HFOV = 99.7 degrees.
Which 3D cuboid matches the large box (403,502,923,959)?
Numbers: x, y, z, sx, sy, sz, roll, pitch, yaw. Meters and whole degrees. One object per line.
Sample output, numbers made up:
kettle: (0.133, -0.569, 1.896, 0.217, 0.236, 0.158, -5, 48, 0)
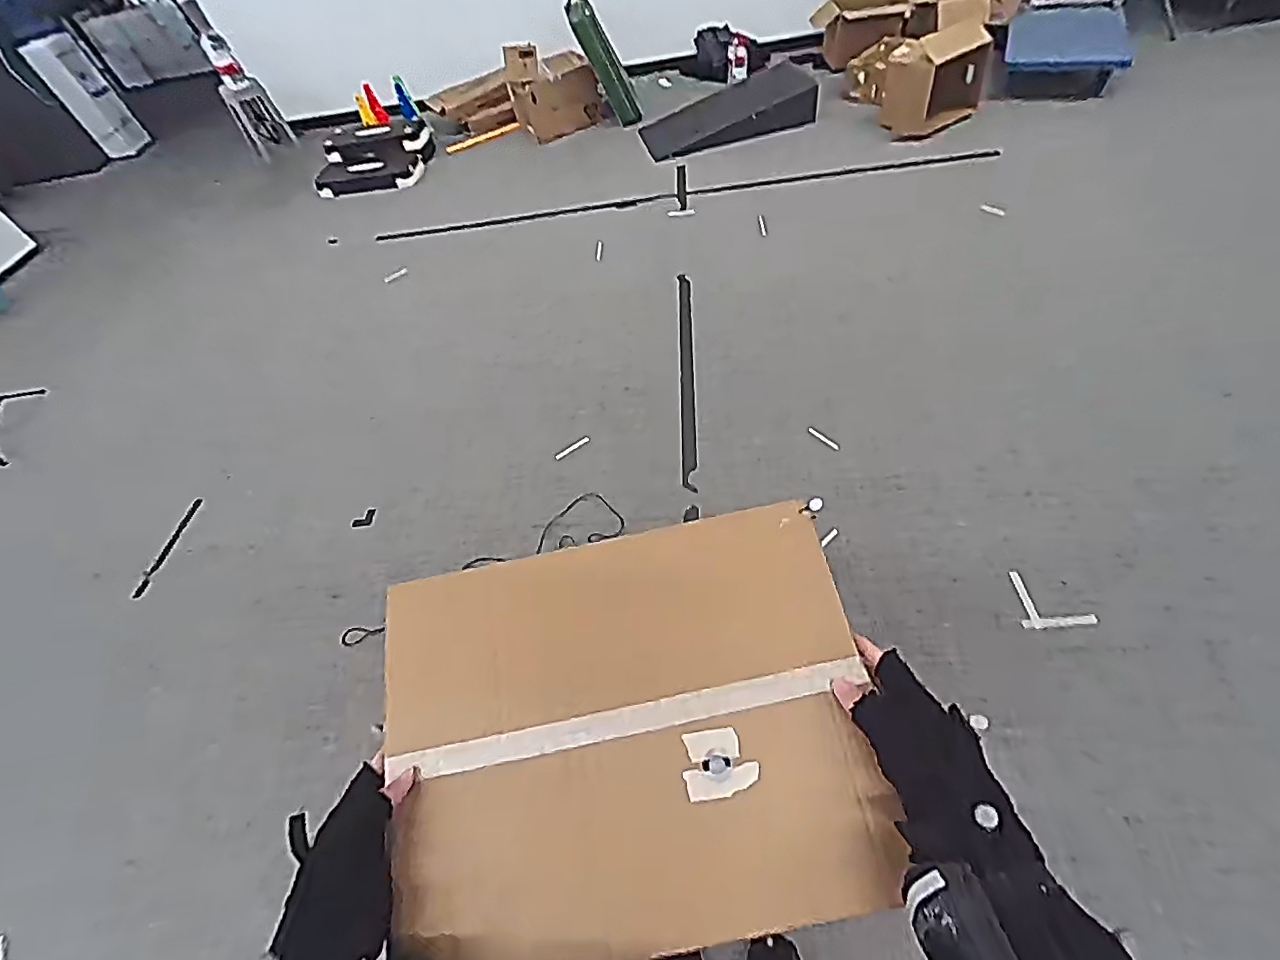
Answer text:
large box: (0.002, 0.260, 0.598, 0.408, 0.320, 0.320, -12, 66, -1)
